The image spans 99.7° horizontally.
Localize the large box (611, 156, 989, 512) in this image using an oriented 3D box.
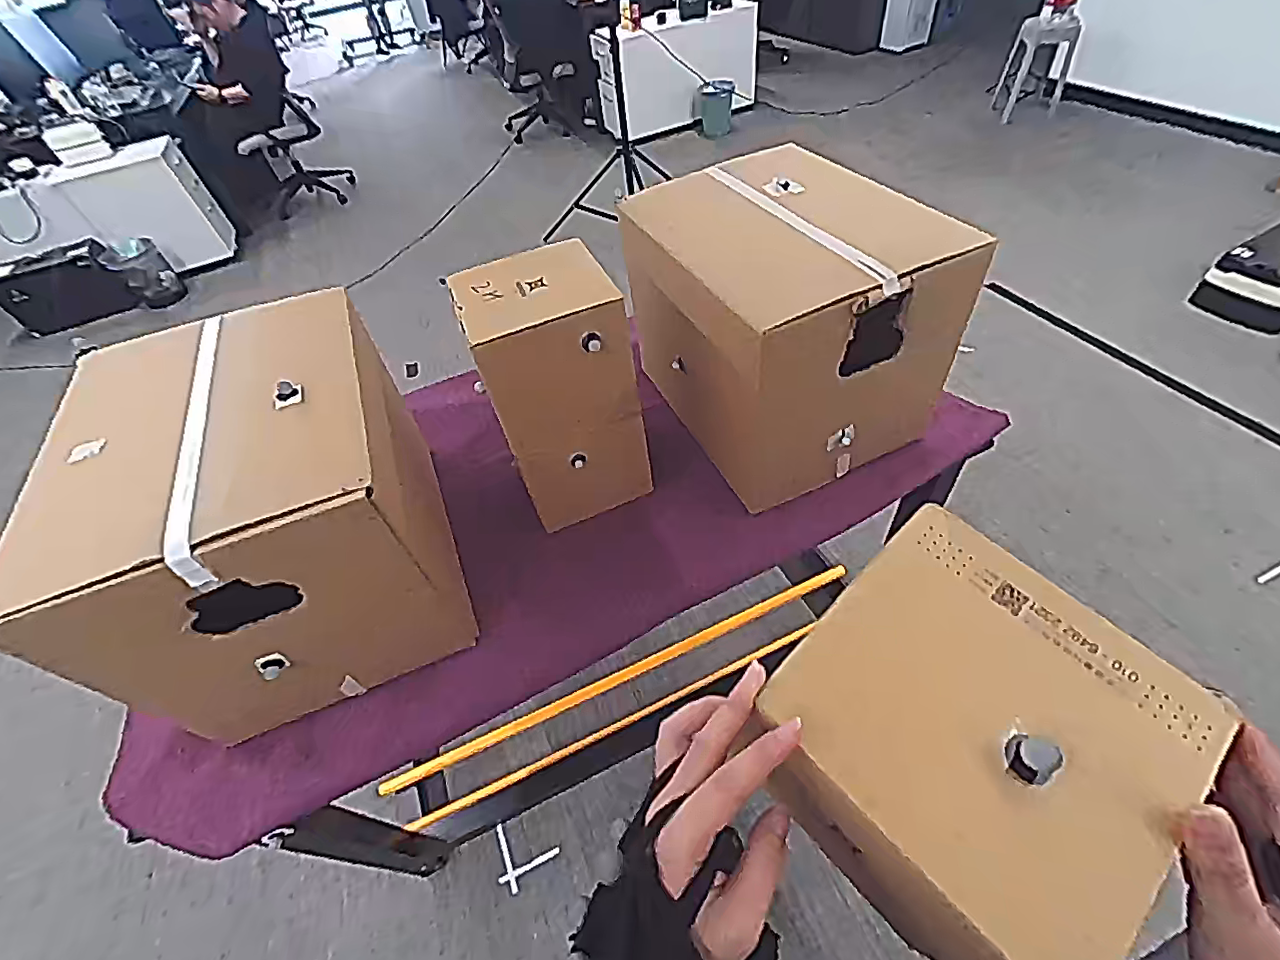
[{"bbox_3d":[0.196,-0.230,0.812,0.320,0.320,0.408,-23,49,-12],"label":"large box"}]
